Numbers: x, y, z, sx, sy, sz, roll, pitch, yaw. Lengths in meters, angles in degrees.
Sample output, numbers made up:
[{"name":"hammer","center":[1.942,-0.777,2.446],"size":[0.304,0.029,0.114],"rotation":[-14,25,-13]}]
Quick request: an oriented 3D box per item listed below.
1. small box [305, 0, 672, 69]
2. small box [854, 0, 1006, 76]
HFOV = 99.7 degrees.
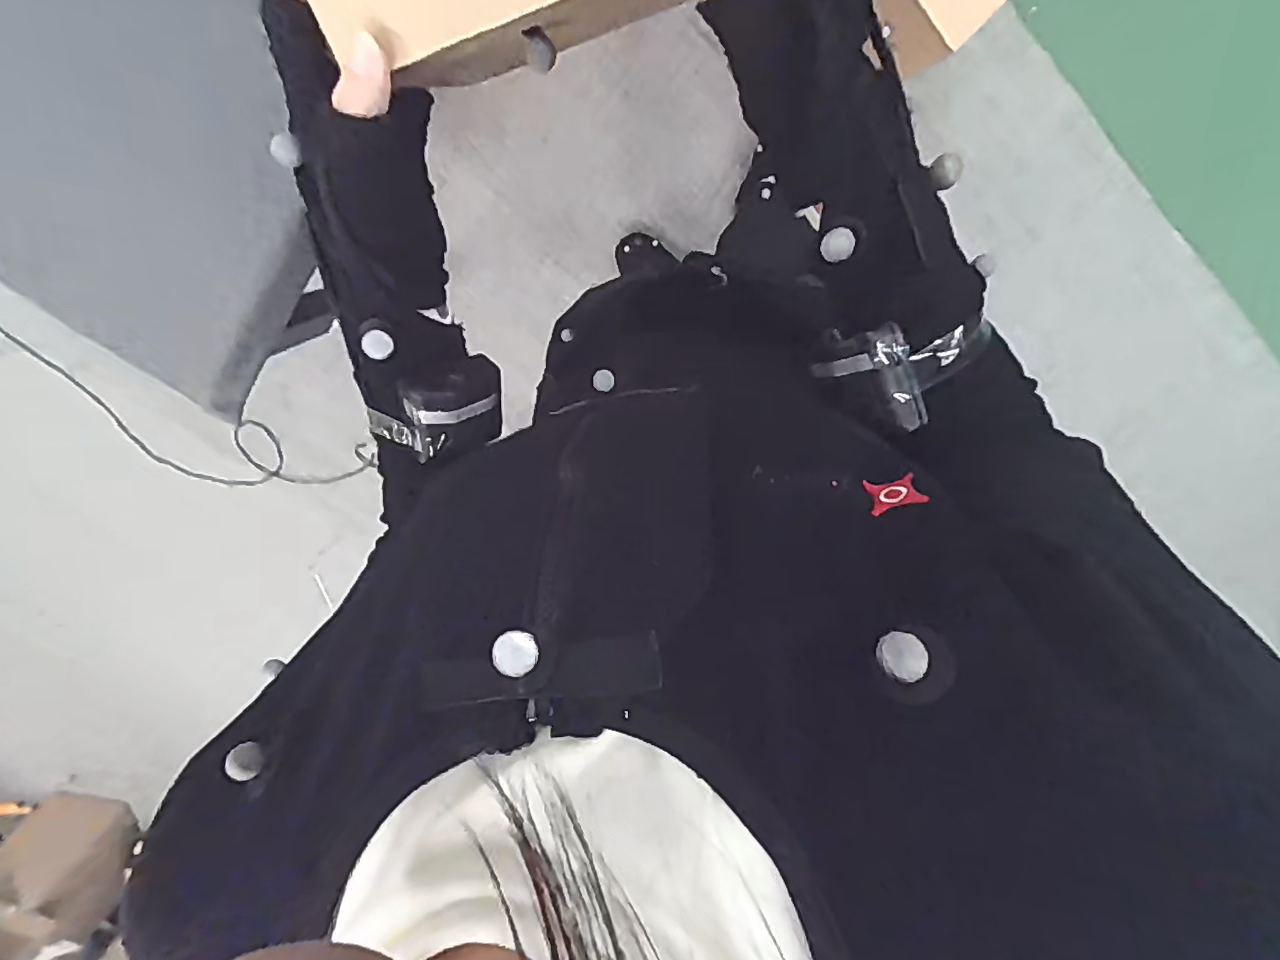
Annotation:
[{"name":"small box","center":[-0.059,-0.298,0.228],"size":[0.179,0.176,0.168],"rotation":[-11,125,11]},{"name":"small box","center":[0.460,-0.765,0.818],"size":[0.168,0.176,0.179],"rotation":[42,113,-16]}]
